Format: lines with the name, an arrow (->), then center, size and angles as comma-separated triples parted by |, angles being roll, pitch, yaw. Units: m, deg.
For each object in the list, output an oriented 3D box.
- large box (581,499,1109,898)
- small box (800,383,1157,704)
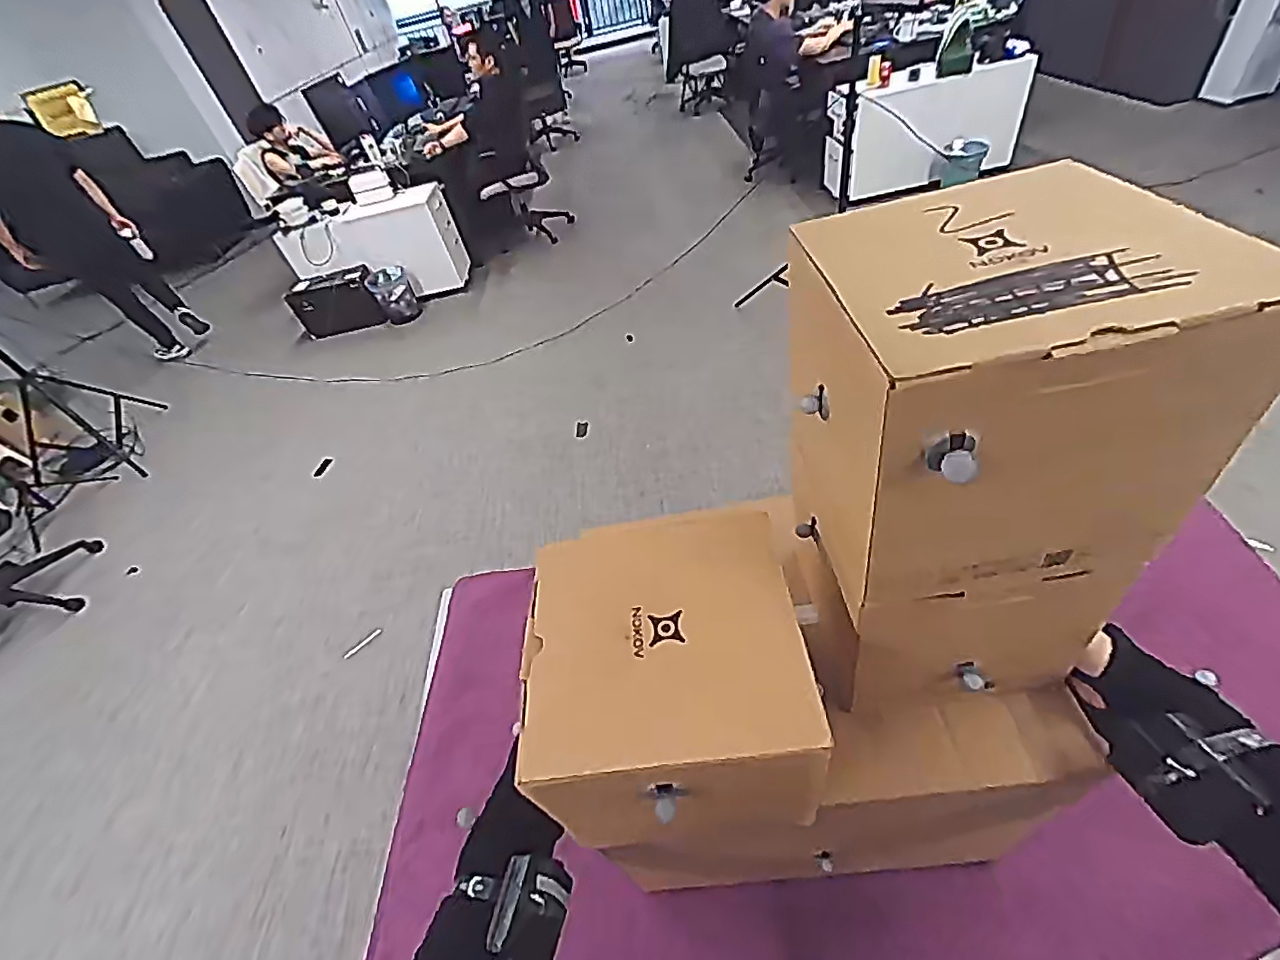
large box -> 0.168, 0.242, 0.614 | 0.408, 0.320, 0.320 | -11, 43, 6
small box -> 0.229, 0.052, 0.432 | 0.168, 0.176, 0.179 | -11, 44, 7
